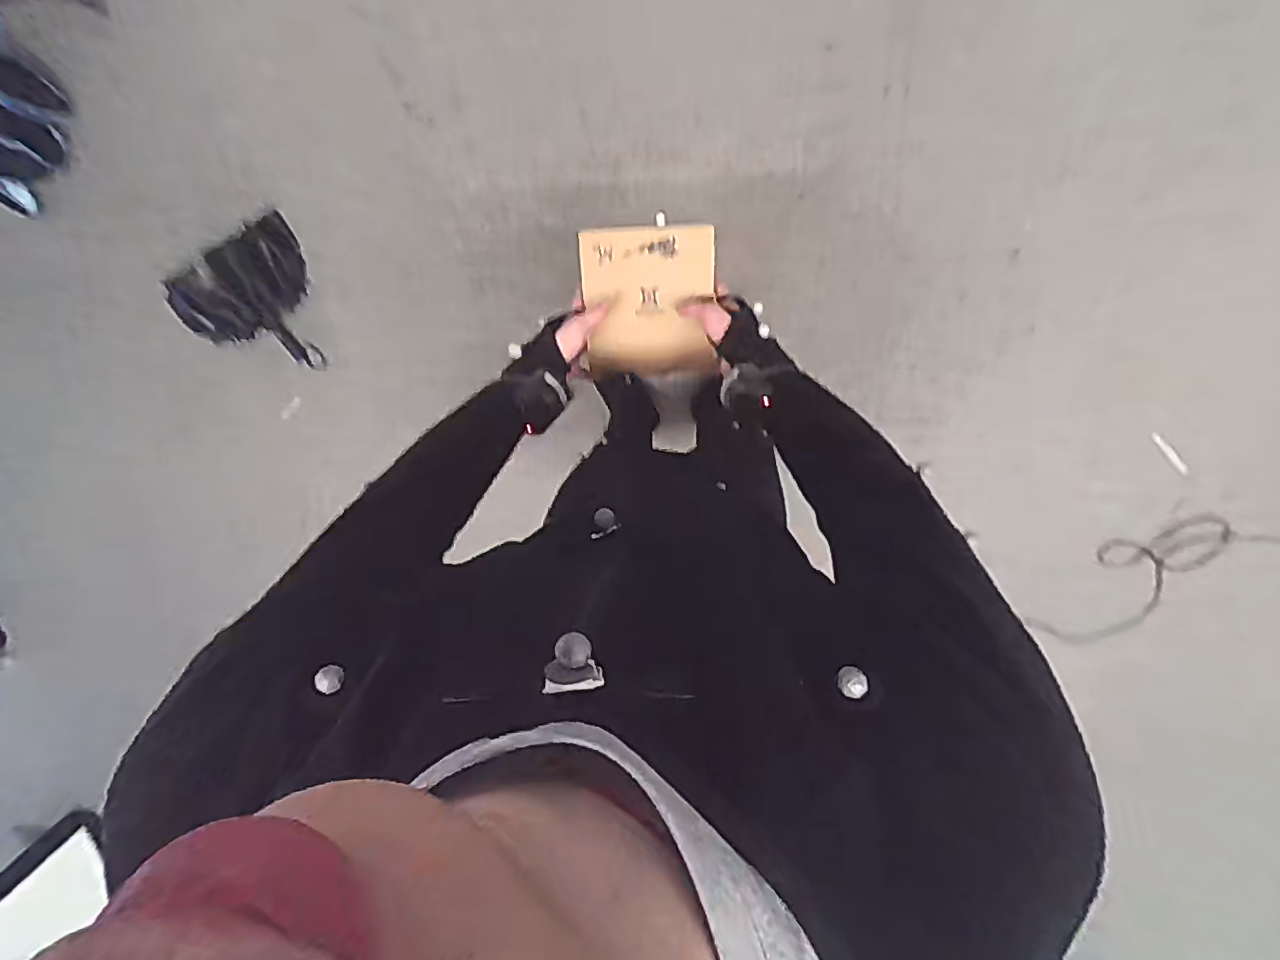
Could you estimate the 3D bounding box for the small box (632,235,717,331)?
[{"bbox_3d":[0.078,-0.415,1.136,0.168,0.176,0.179,0,111,7],"label":"small box"}]
